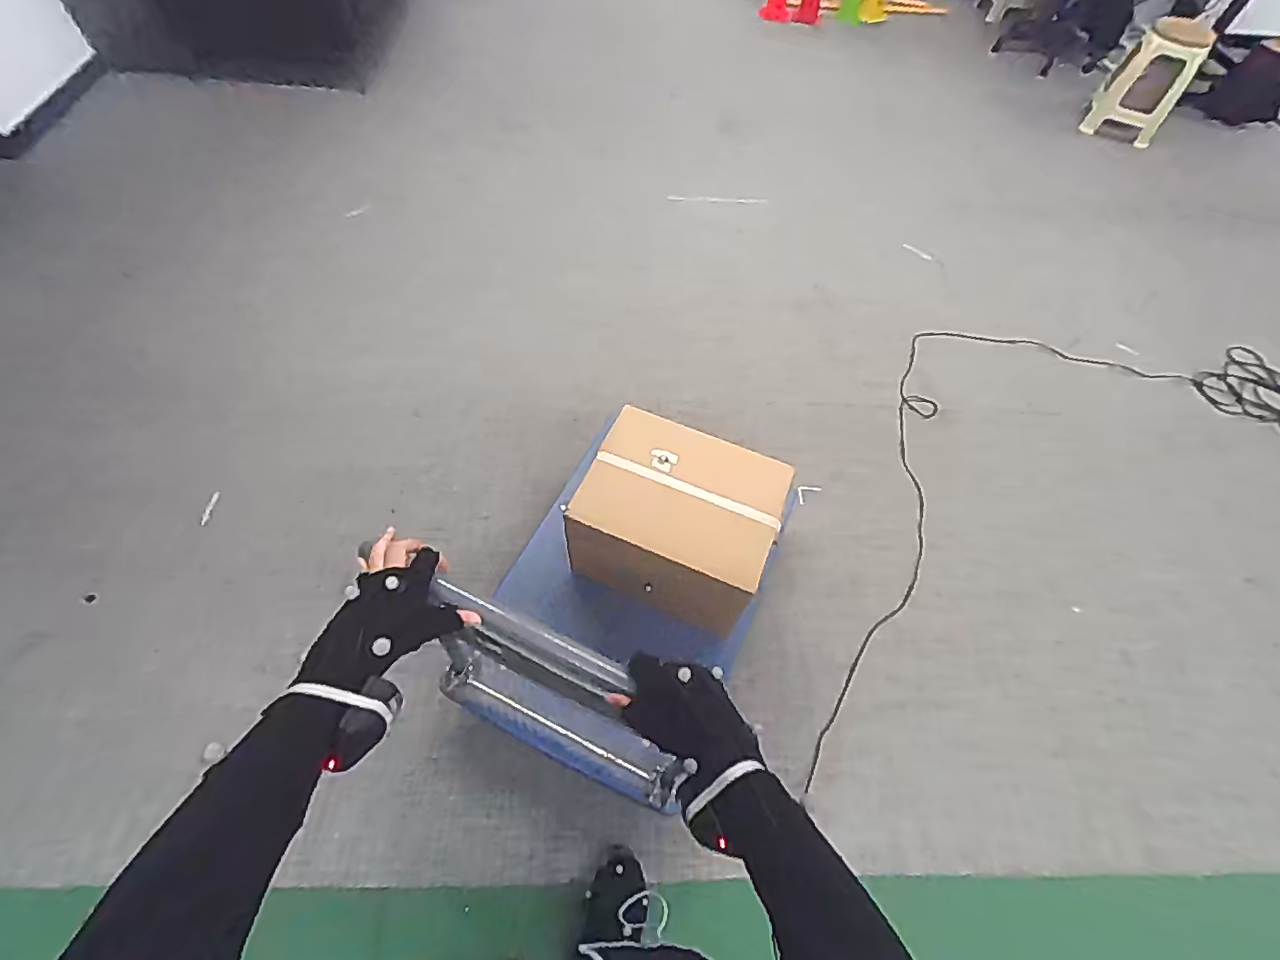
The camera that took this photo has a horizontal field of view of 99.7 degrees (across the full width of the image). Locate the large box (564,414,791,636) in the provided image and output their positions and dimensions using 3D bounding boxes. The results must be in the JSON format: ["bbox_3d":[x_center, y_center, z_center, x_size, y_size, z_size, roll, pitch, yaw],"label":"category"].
[{"bbox_3d":[0.084,0.110,1.249,0.408,0.320,0.320,21,59,11],"label":"large box"}]
